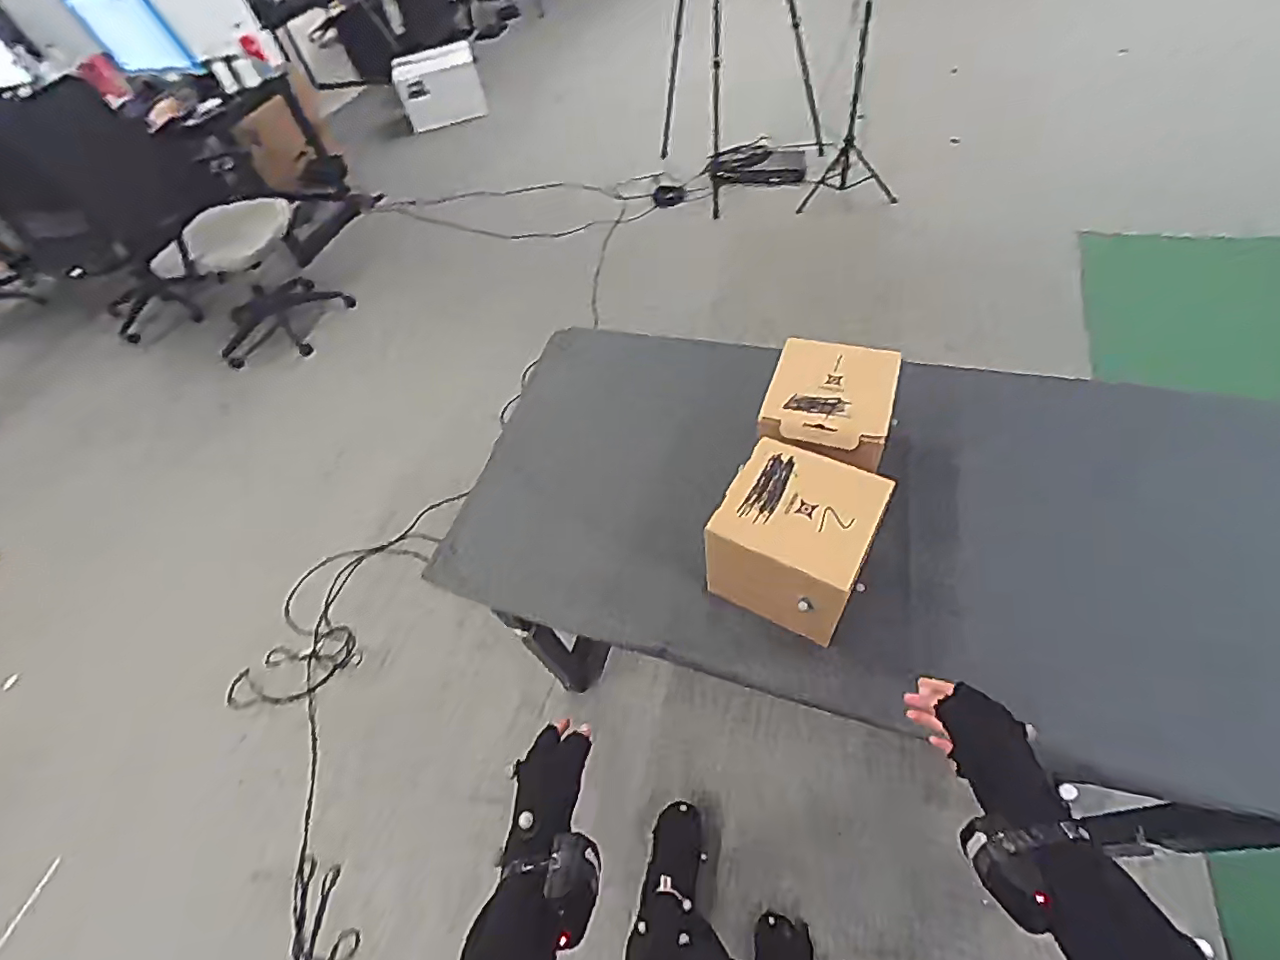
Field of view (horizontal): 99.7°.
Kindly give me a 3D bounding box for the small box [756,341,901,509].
[{"bbox_3d":[0.280,-0.081,0.819,0.168,0.176,0.179,14,57,20],"label":"small box"}]
